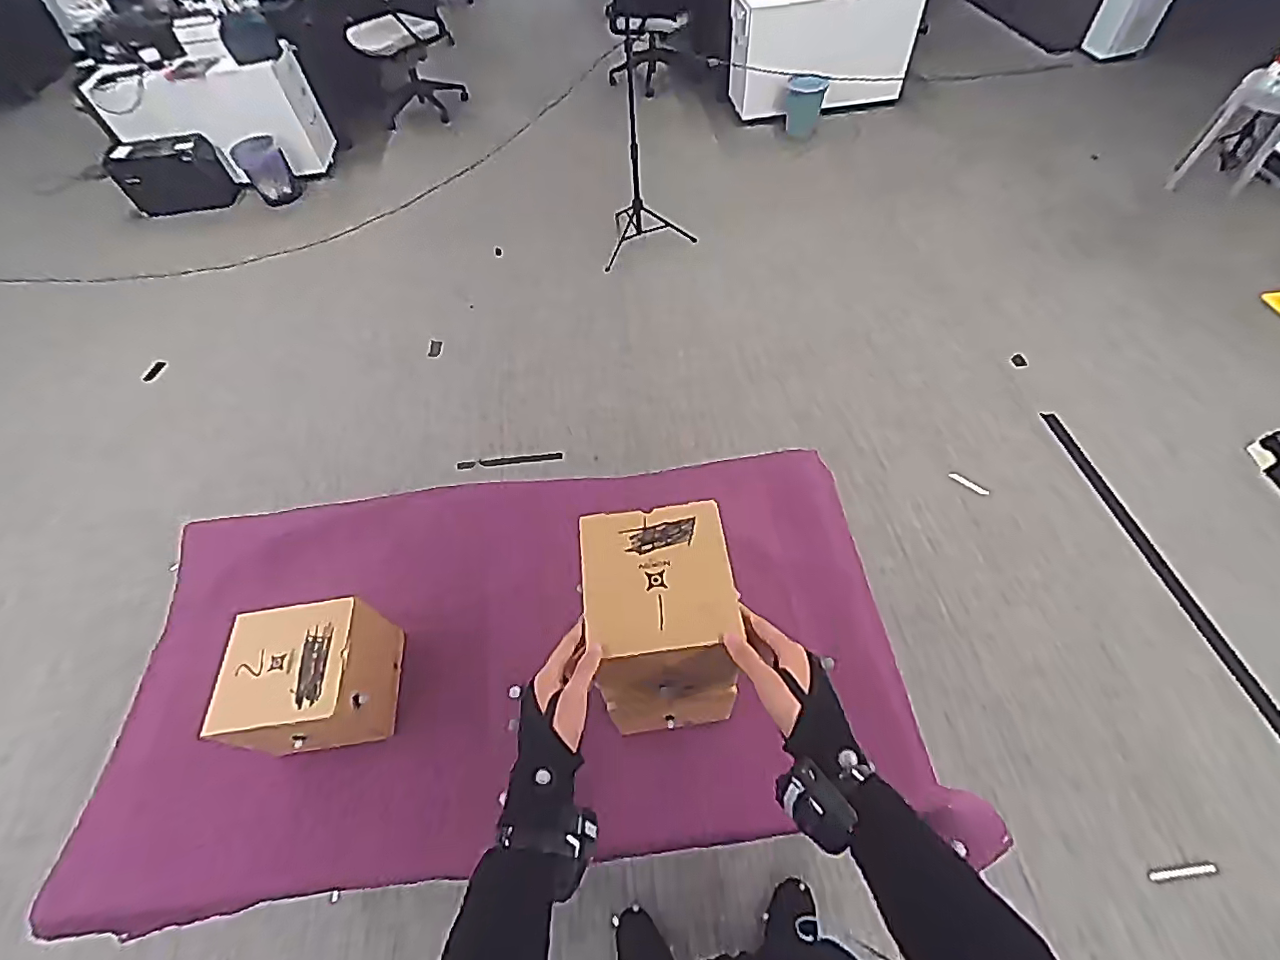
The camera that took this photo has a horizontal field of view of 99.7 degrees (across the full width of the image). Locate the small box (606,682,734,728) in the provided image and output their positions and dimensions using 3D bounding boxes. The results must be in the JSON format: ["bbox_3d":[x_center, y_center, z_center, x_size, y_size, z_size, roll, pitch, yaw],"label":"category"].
[{"bbox_3d":[0.037,0.255,0.794,0.168,0.176,0.179,-7,55,-1],"label":"small box"}]

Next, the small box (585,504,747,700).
[{"bbox_3d":[0.026,0.153,0.665,0.168,0.176,0.179,-7,55,0],"label":"small box"}]
